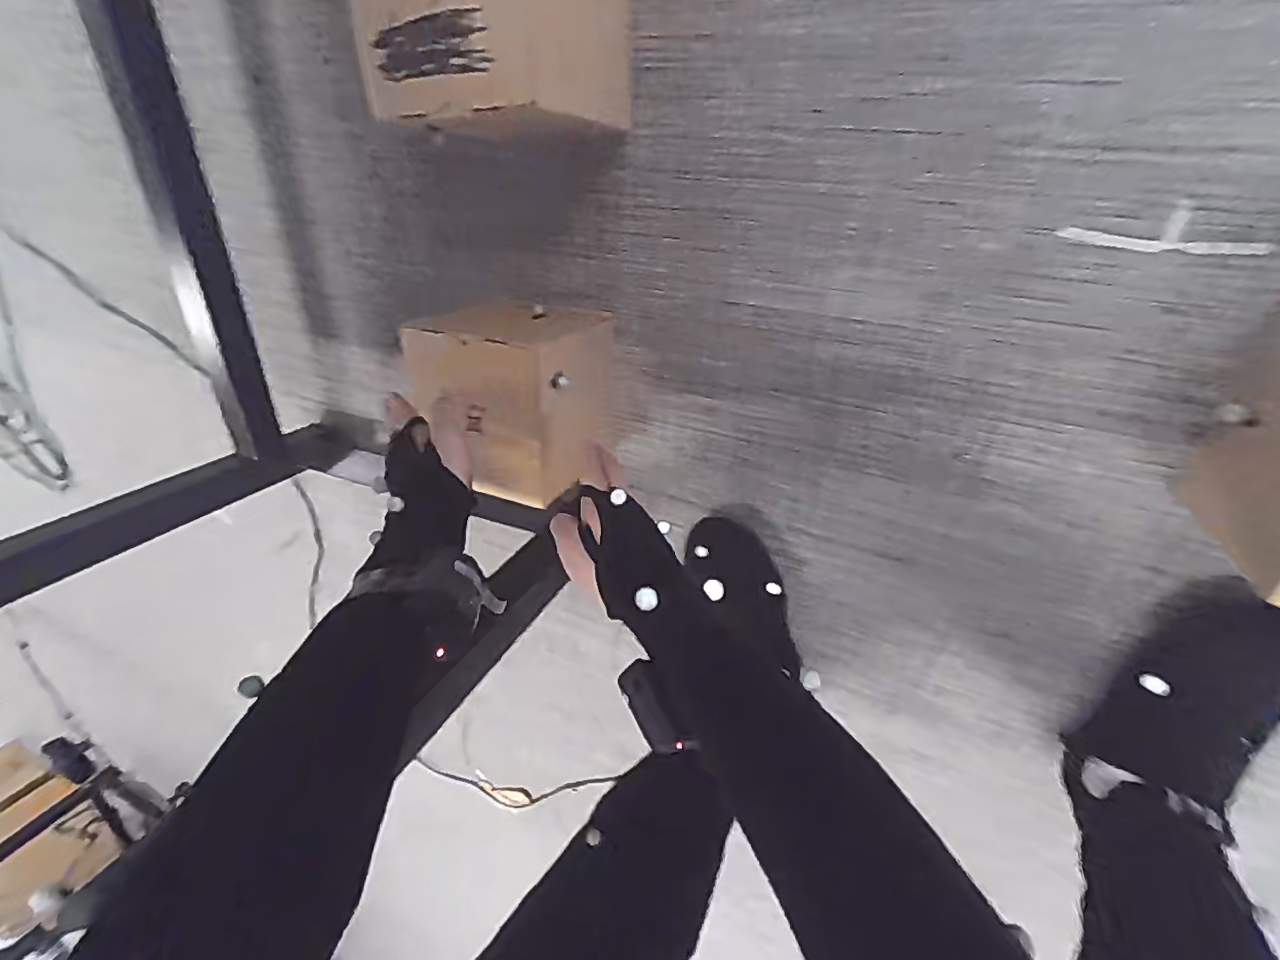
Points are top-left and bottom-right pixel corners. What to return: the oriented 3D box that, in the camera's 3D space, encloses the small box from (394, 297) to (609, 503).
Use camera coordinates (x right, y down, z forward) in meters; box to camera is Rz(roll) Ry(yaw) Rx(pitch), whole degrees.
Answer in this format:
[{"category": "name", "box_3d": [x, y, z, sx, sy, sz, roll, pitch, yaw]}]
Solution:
[{"category": "small box", "box_3d": [-0.145, -0.102, 0.622, 0.168, 0.176, 0.179, 14, 119, 20]}]
